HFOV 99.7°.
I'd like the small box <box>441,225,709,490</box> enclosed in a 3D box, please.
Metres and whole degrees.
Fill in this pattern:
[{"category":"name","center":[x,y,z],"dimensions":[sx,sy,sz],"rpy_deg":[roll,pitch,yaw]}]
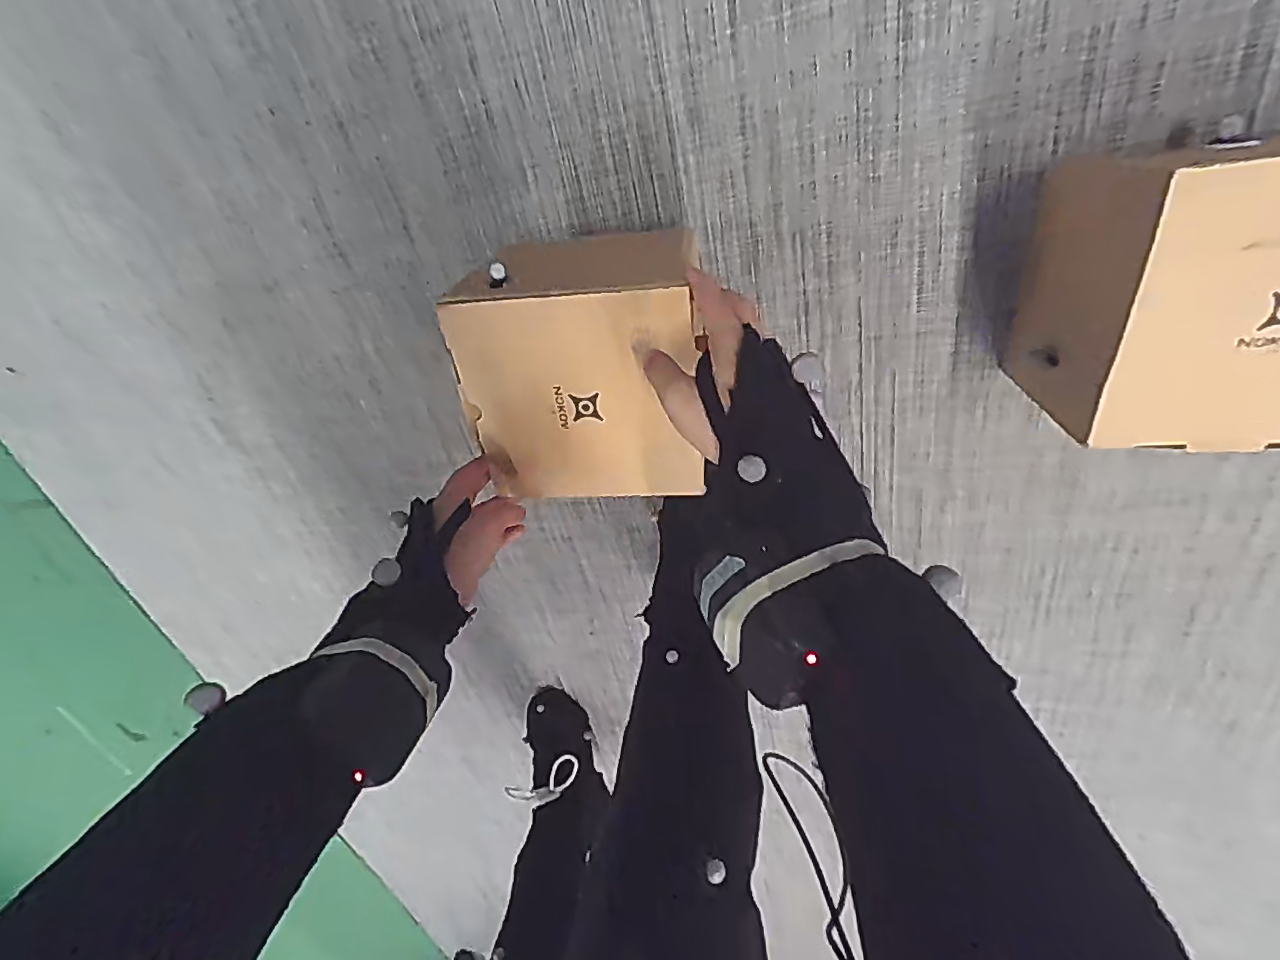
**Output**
[{"category":"small box","center":[-0.032,-0.107,0.458],"dimensions":[0.179,0.176,0.168],"rpy_deg":[-1,126,10]}]

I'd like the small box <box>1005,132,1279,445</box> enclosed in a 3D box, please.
[{"category":"small box","center":[0.394,-0.140,0.389],"dimensions":[0.168,0.176,0.179],"rpy_deg":[-2,119,12]}]
